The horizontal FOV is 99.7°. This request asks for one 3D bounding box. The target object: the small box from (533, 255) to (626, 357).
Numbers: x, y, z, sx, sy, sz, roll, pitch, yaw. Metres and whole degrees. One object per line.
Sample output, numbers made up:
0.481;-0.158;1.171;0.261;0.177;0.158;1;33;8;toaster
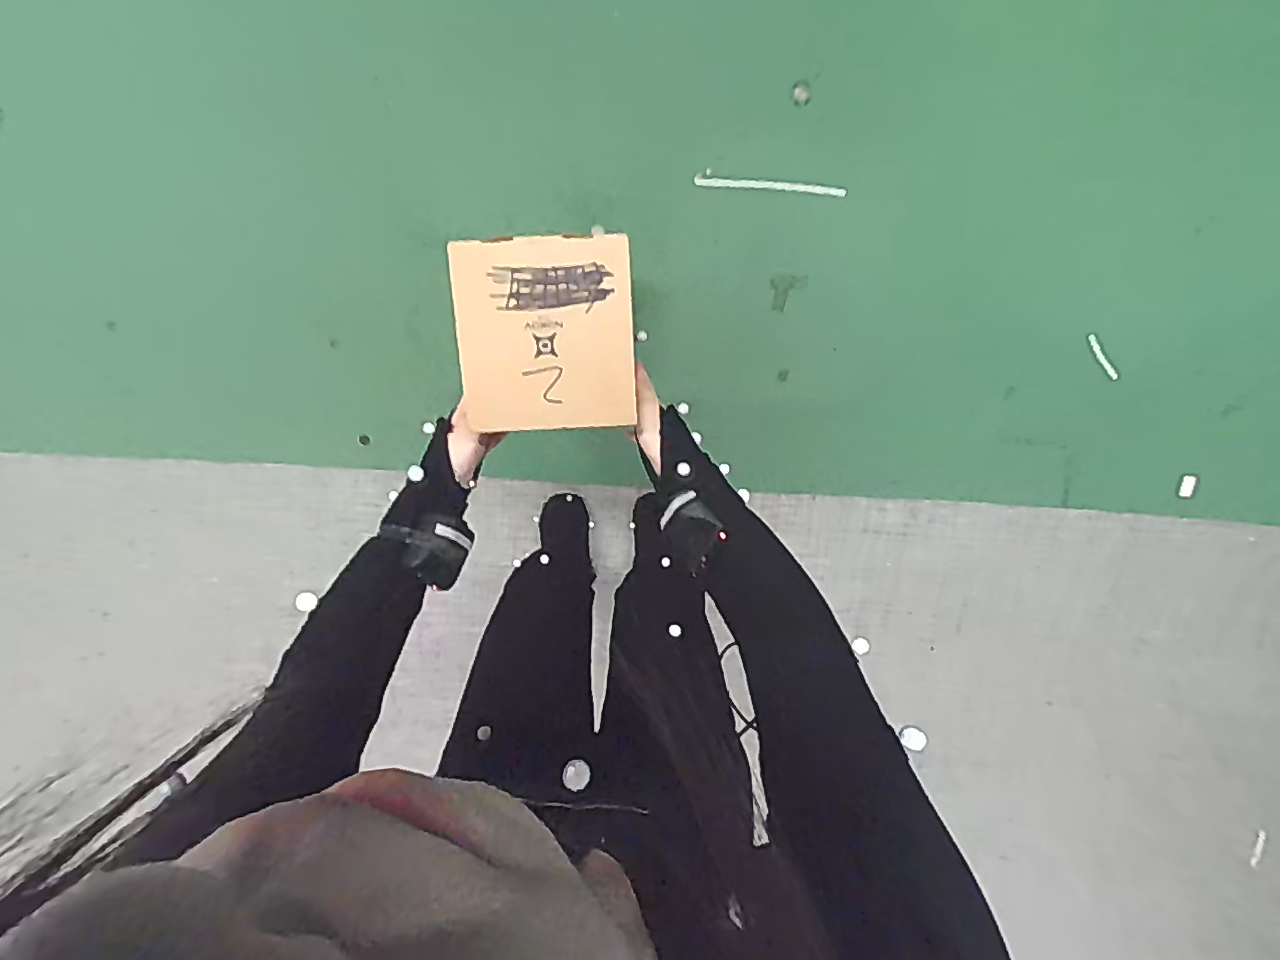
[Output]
-0.117;-0.344;1.097;0.168;0.176;0.179;3;101;1;small box
